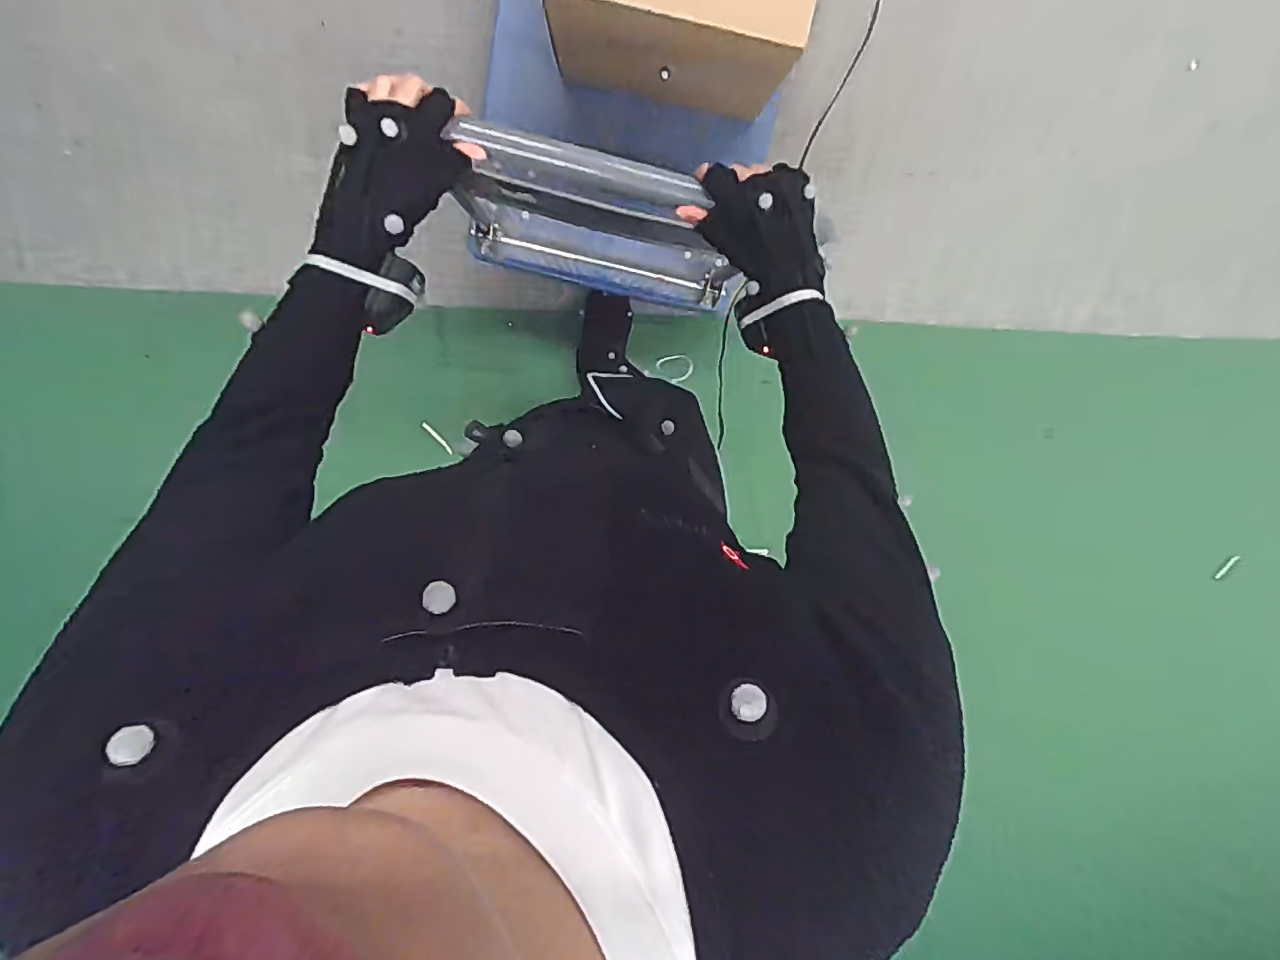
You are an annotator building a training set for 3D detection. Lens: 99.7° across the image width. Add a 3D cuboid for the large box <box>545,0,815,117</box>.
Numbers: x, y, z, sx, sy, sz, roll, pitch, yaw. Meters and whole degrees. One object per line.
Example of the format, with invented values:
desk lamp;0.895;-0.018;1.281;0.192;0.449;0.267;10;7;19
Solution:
large box;0.076;-0.866;0.903;0.408;0.320;0.320;10;105;-5
